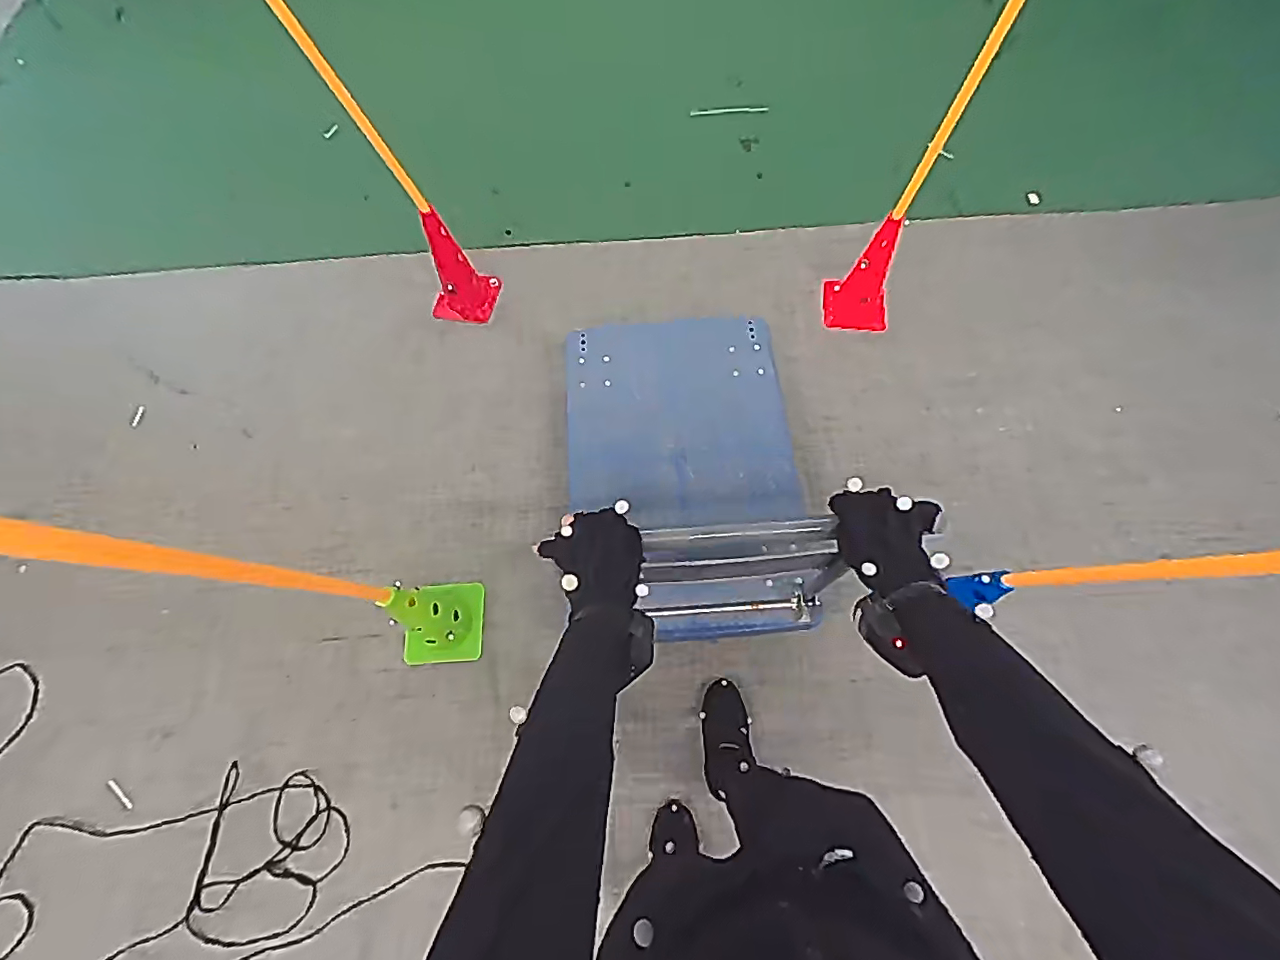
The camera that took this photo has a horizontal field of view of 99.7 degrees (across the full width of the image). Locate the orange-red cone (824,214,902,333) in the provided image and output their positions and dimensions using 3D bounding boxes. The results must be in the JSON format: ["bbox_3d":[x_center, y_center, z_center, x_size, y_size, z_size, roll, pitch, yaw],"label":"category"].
[{"bbox_3d":[0.694,-0.629,1.607,0.198,0.360,0.199,7,68,6],"label":"orange-red cone"}]
